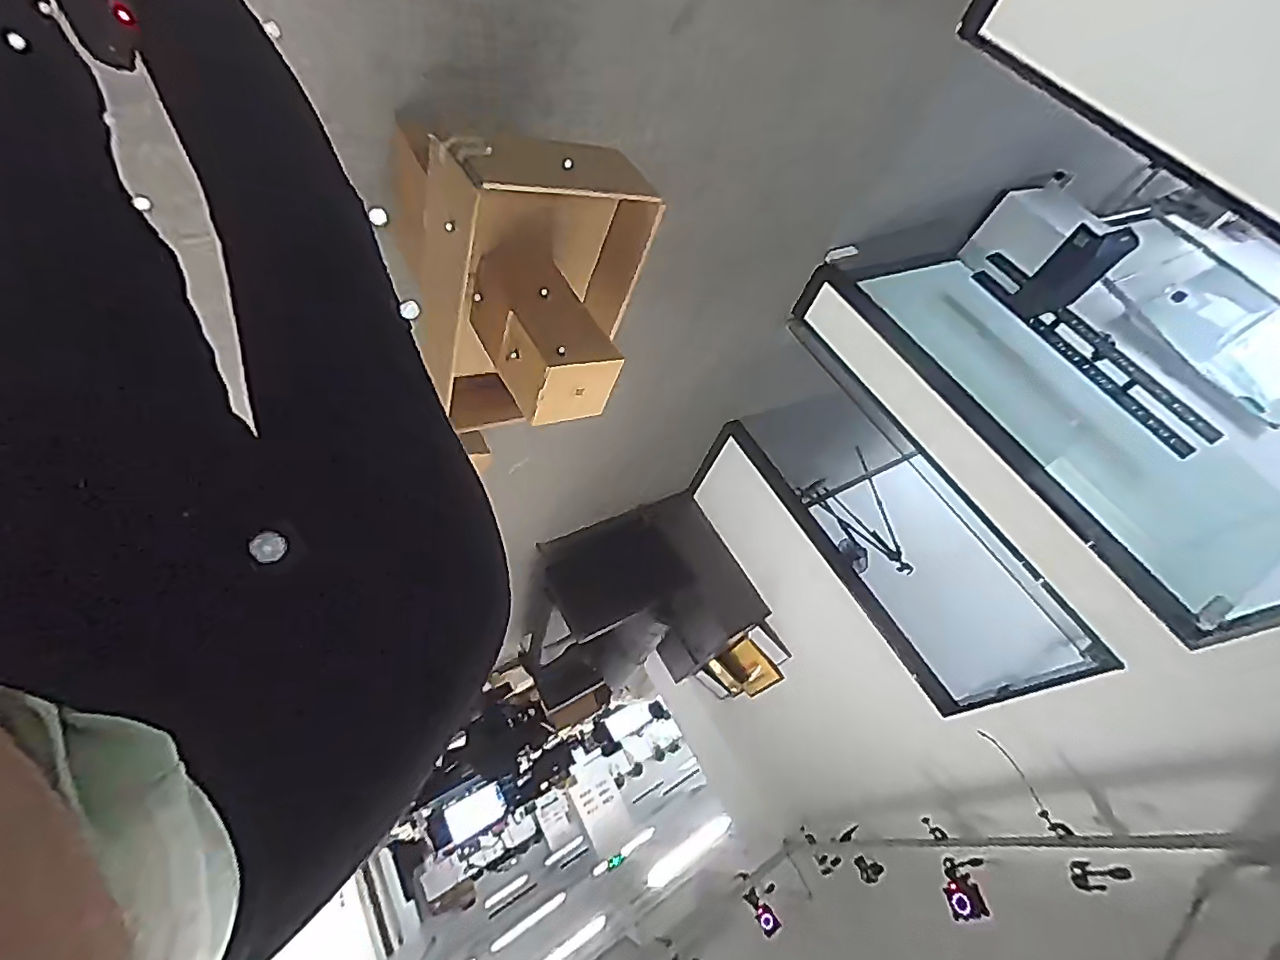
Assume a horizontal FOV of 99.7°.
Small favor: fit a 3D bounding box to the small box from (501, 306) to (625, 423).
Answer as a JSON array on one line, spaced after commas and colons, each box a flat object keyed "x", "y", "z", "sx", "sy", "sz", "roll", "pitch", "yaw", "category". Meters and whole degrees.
[{"x": -0.166, "y": -0.246, "z": 1.128, "sx": 0.179, "sy": 0.176, "sz": 0.168, "roll": -15, "pitch": 151, "yaw": -35, "category": "small box"}]
